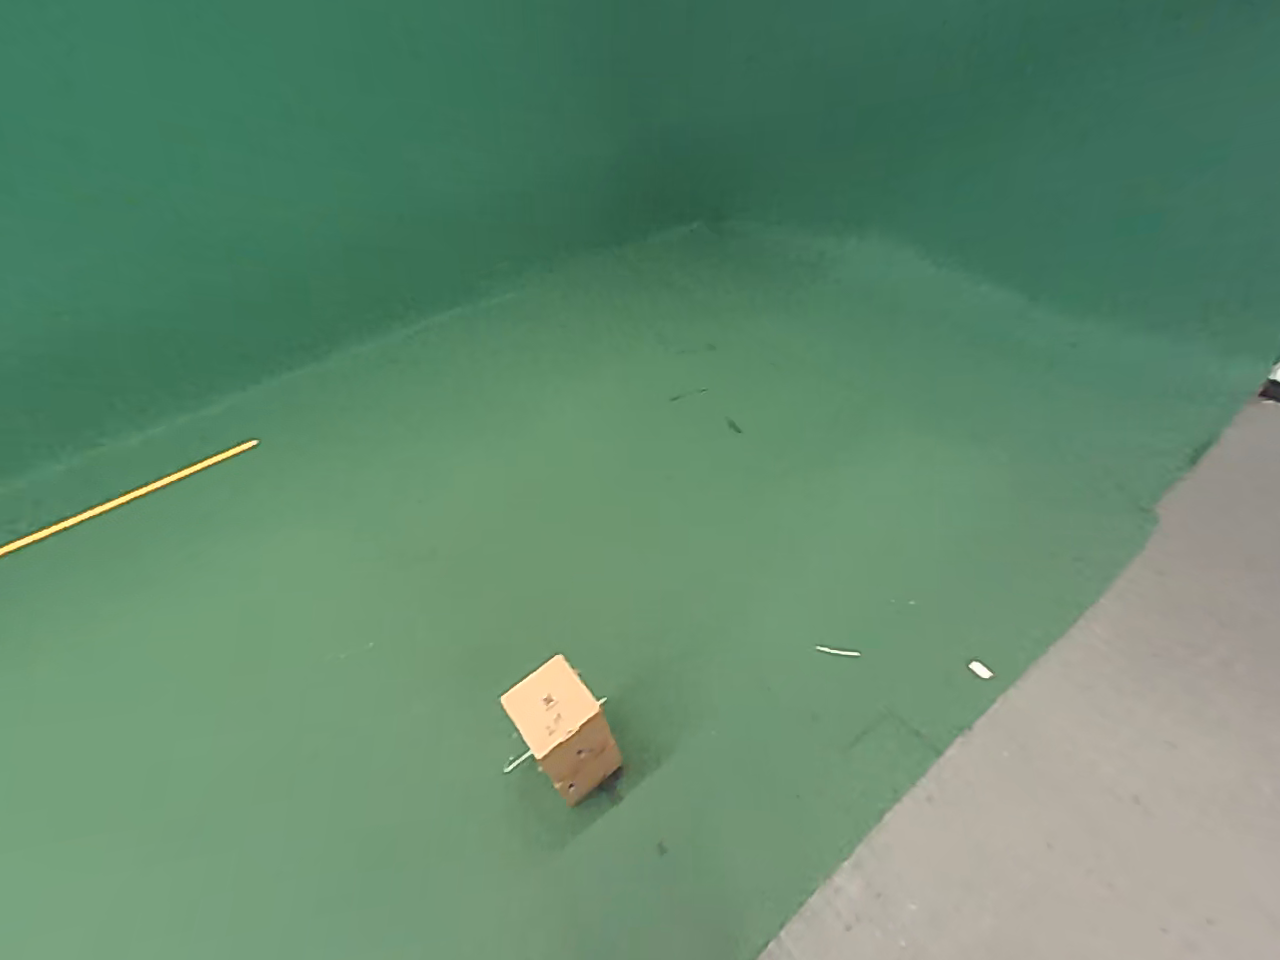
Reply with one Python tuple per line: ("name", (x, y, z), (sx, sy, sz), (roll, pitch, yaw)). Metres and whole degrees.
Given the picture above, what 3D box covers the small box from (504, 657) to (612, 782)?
("small box", (-0.186, 0.557, 1.254), (0.168, 0.176, 0.179), (-33, 50, -22))
